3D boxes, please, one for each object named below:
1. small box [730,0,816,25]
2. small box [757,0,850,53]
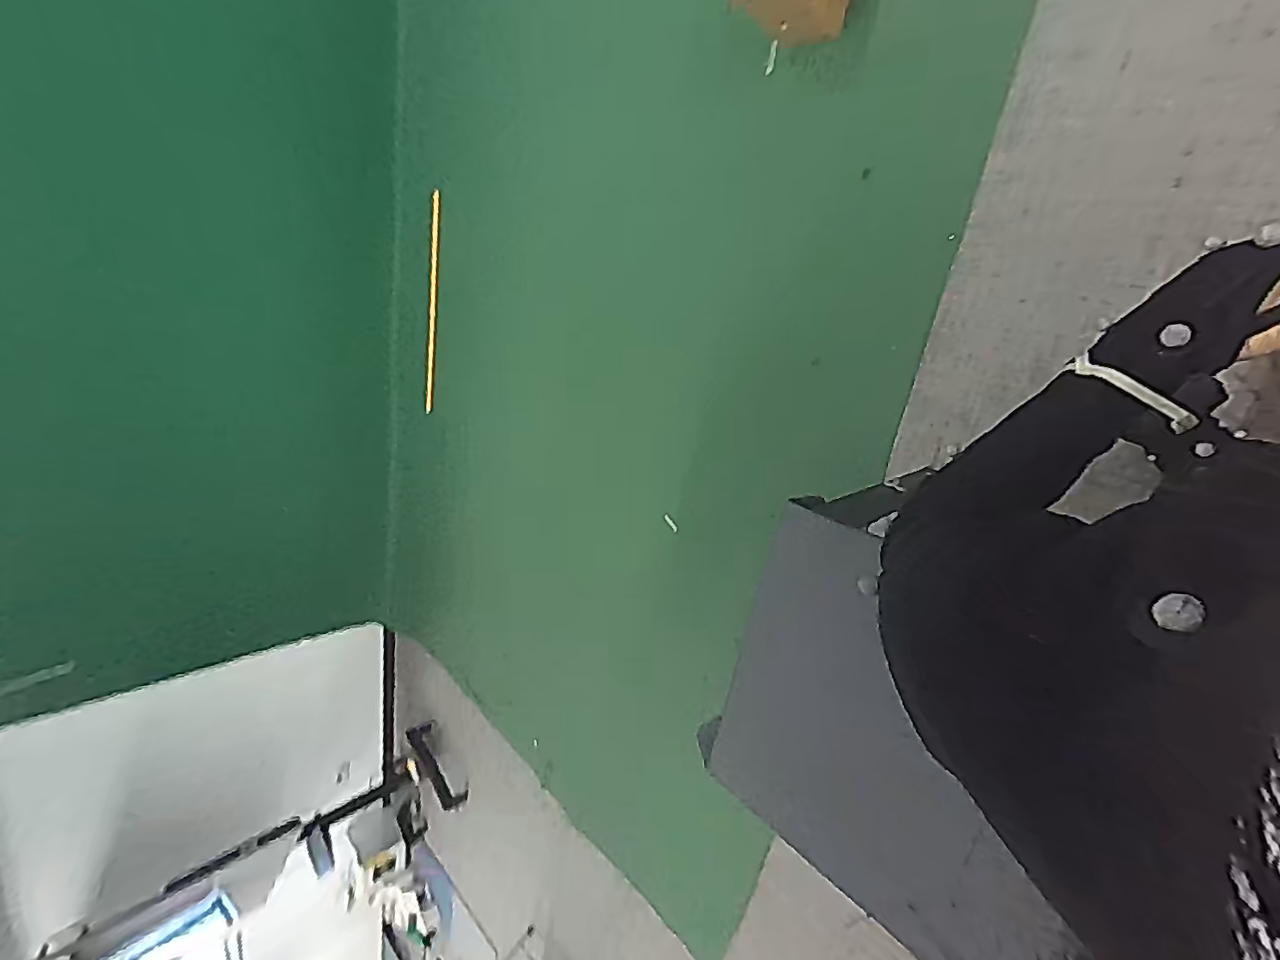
[{"bbox_3d":[0.323,-1.238,1.300,0.179,0.176,0.168,28,116,38],"label":"small box"},{"bbox_3d":[0.439,-1.261,1.416,0.179,0.176,0.168,26,114,40],"label":"small box"}]
